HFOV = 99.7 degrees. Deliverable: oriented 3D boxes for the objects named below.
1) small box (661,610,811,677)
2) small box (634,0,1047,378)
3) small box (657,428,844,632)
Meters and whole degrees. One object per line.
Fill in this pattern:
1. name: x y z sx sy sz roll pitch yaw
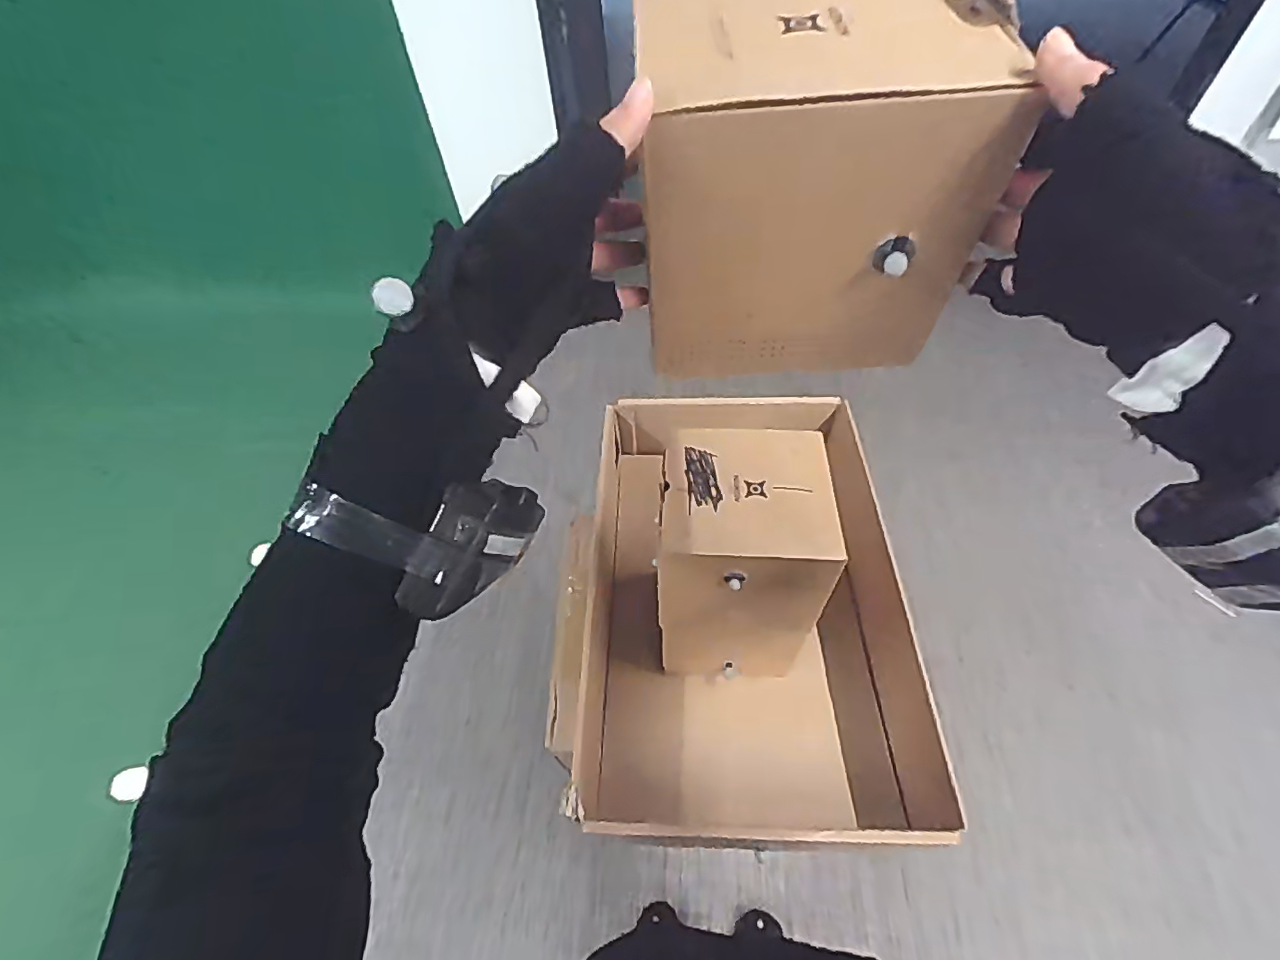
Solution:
1. small box: 0.119 0.160 0.743 0.179 0.176 0.168 0 50 3
2. small box: 0.090 -0.182 0.338 0.179 0.176 0.168 -3 57 4
3. small box: 0.112 0.060 0.613 0.179 0.176 0.168 3 51 4
